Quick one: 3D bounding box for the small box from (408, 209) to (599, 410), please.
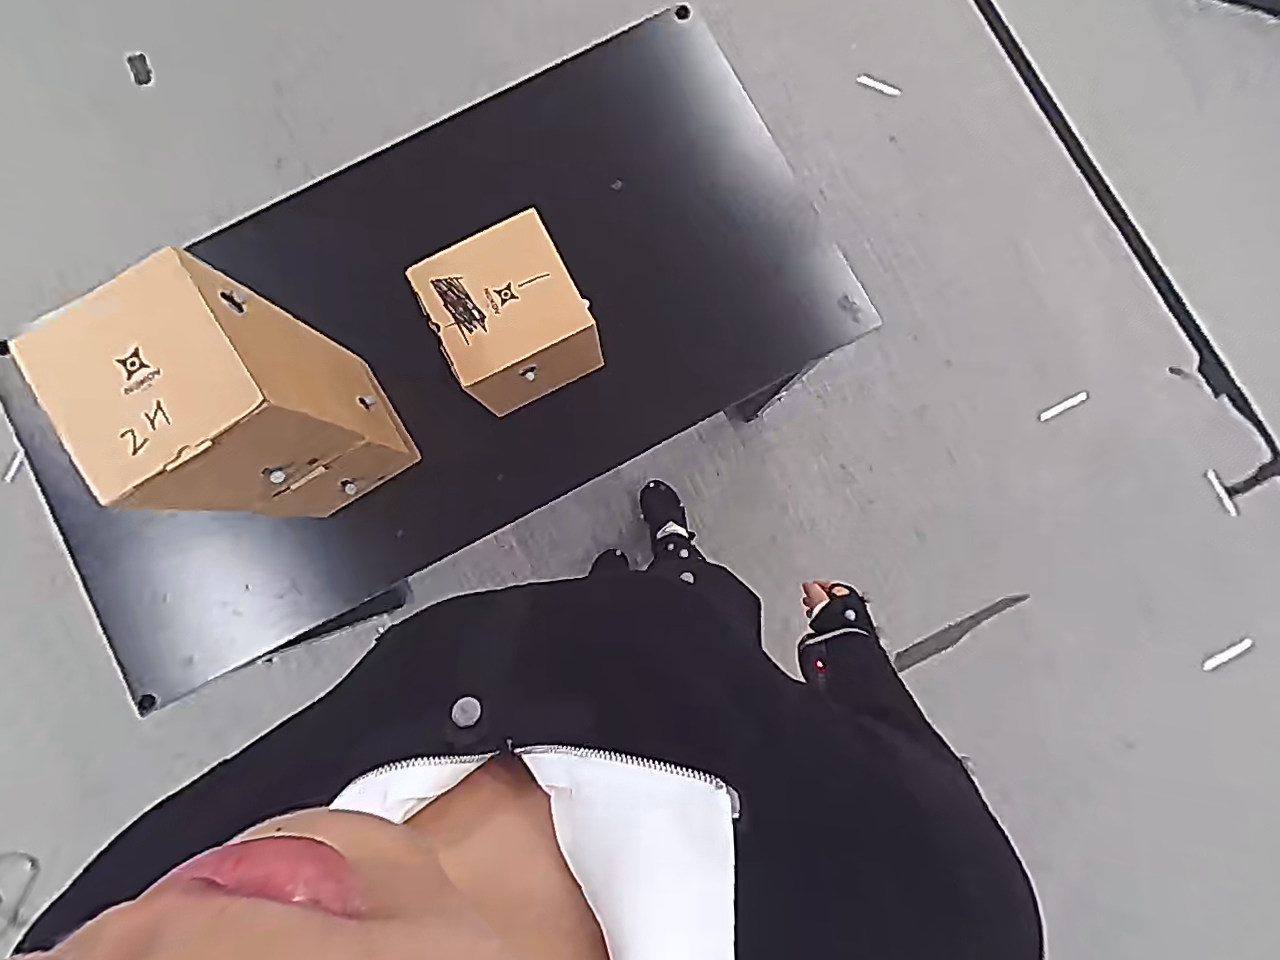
[{"bbox_3d":[-0.169,-0.214,0.729,0.179,0.176,0.168,-27,85,-3],"label":"small box"}]

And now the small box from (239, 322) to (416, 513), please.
[{"bbox_3d":[-0.433,-0.072,0.716,0.168,0.176,0.179,-32,86,-2],"label":"small box"}]

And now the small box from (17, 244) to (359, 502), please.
[{"bbox_3d":[-0.434,-0.091,0.552,0.168,0.176,0.179,-34,86,-3],"label":"small box"}]
